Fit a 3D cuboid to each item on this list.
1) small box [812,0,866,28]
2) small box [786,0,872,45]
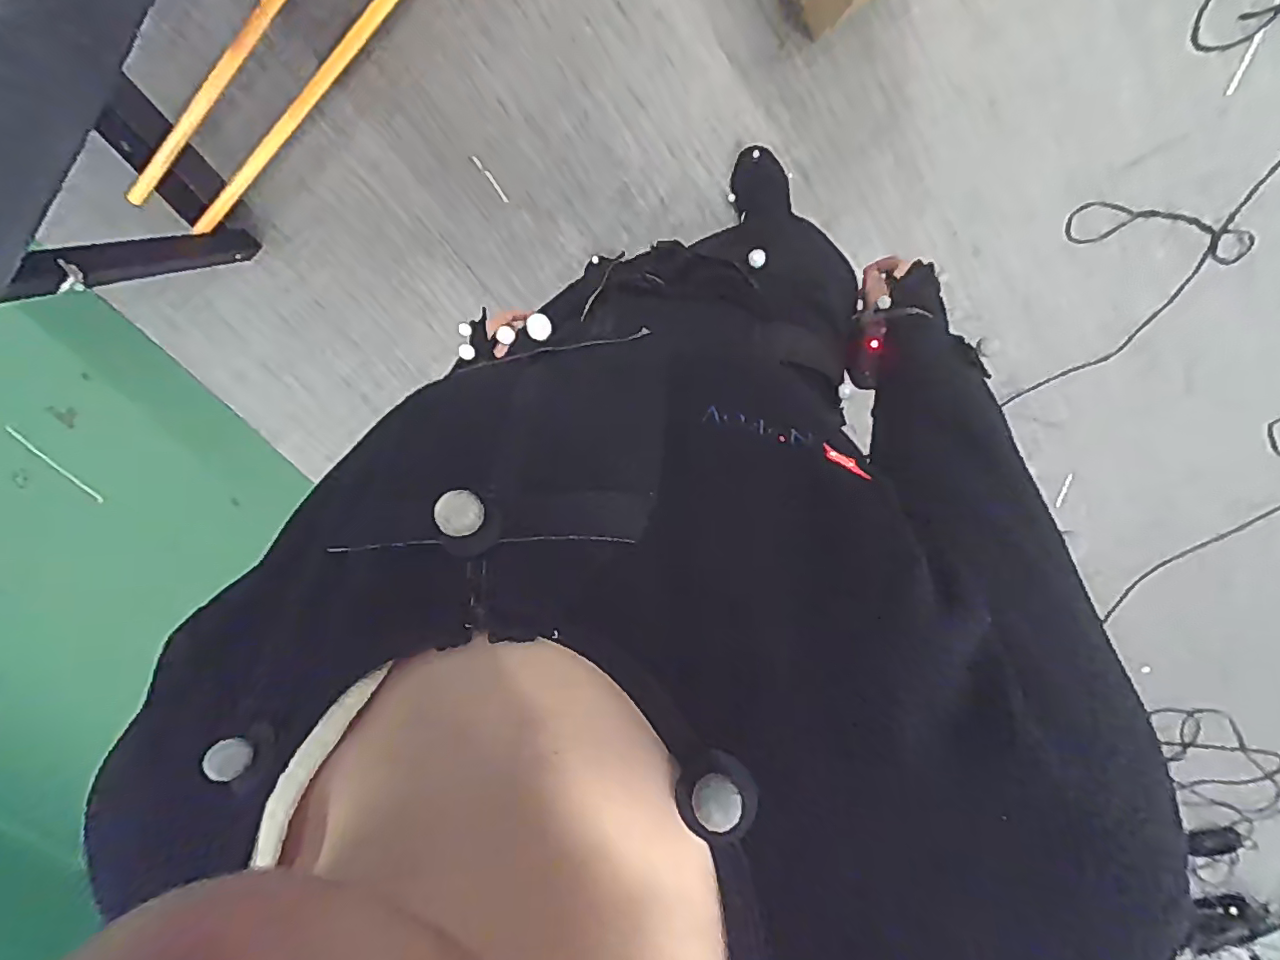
[{"bbox_3d":[0.305,-0.771,0.731,0.179,0.176,0.168,-34,110,21],"label":"small box"},{"bbox_3d":[0.329,-0.857,0.868,0.179,0.176,0.168,-31,110,20],"label":"small box"}]
